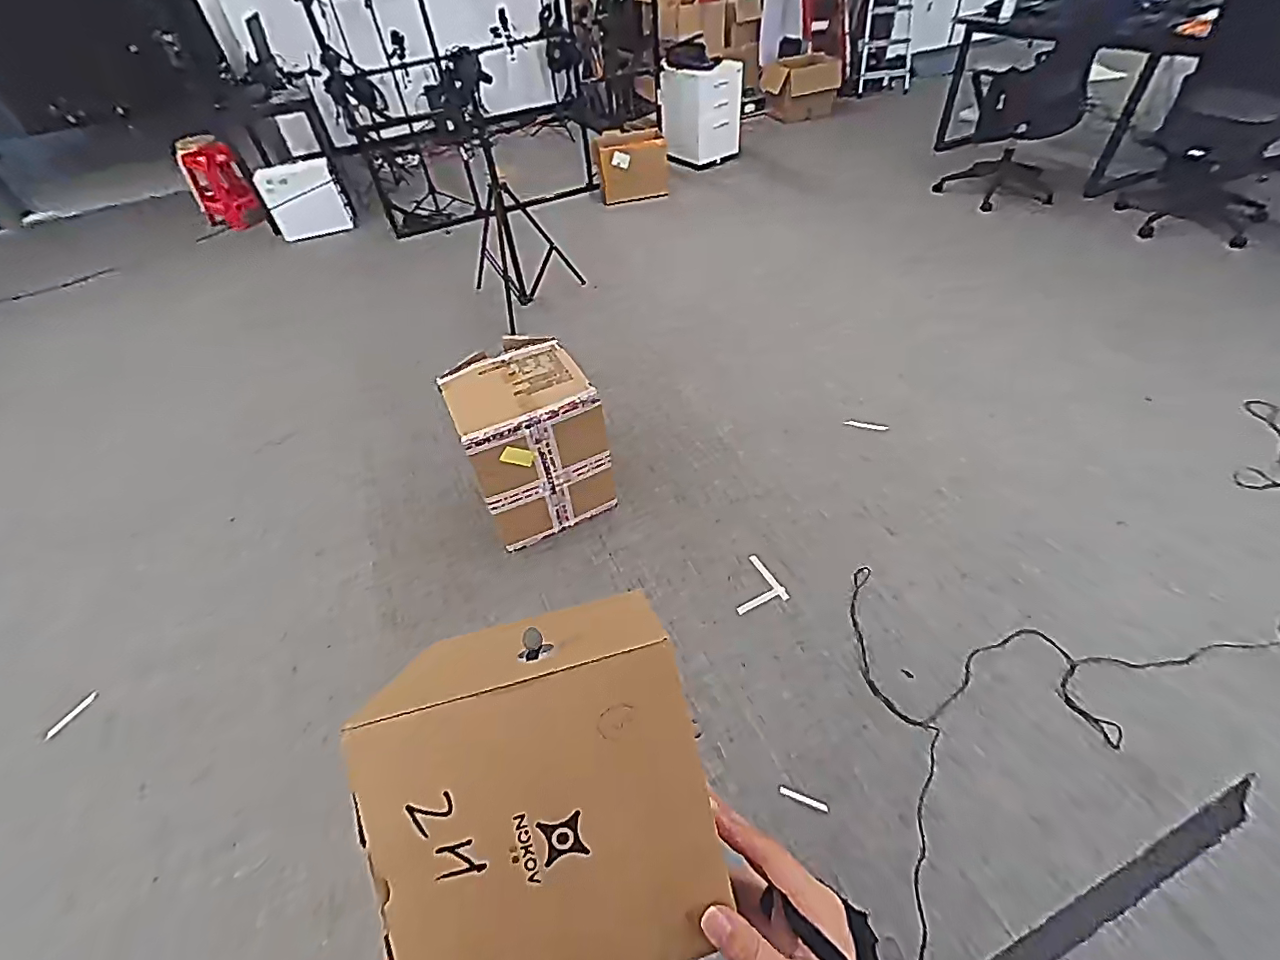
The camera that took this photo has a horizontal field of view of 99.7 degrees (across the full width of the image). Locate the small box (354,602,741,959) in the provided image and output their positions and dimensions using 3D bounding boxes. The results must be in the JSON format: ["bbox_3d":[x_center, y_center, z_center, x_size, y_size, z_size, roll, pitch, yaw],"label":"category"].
[{"bbox_3d":[-0.054,0.191,0.363,0.179,0.176,0.168,-14,88,-6],"label":"small box"}]
